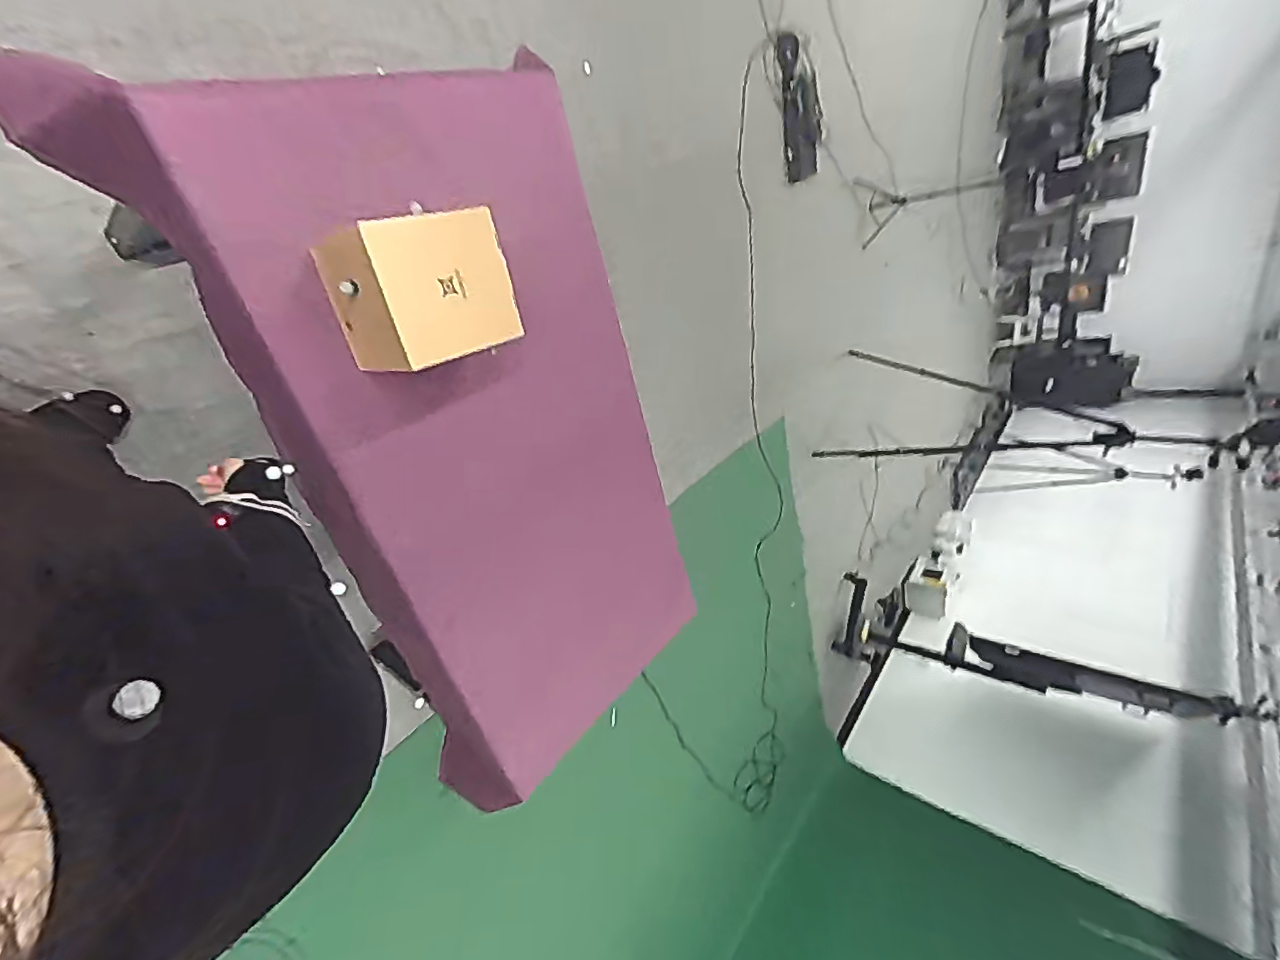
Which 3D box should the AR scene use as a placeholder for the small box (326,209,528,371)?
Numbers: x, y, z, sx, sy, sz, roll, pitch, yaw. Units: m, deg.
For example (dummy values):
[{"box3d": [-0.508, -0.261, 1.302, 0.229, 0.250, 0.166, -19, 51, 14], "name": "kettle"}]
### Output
[{"box3d": [-0.286, -0.246, 0.719, 0.179, 0.176, 0.168, -34, 121, -40], "name": "small box"}]
